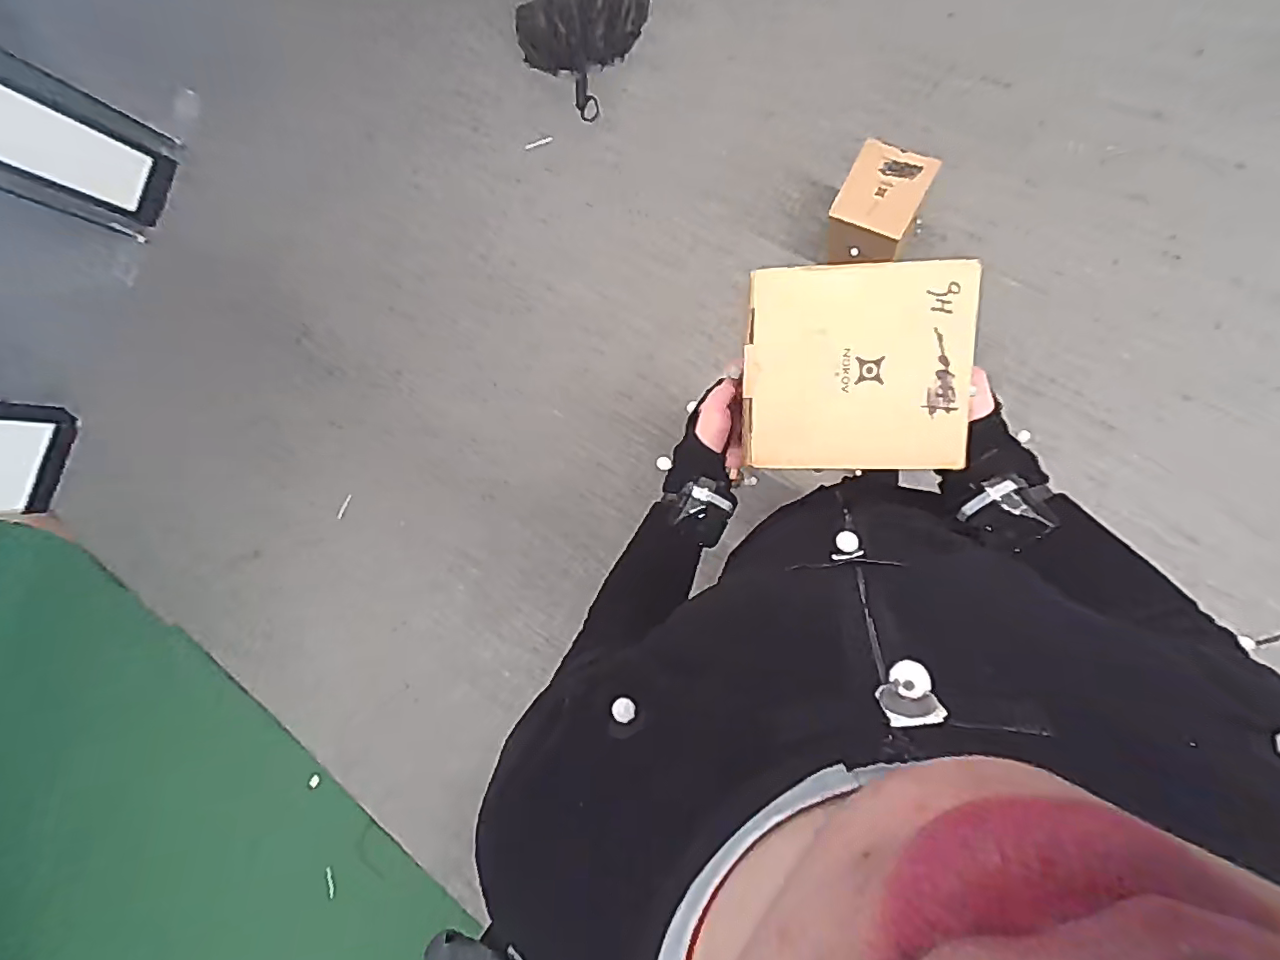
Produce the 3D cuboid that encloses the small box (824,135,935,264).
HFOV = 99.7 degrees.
[{"bbox_3d":[0.530,-0.627,1.227,0.168,0.176,0.179,30,99,16],"label":"small box"}]

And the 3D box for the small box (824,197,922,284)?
[{"bbox_3d":[0.584,-0.633,1.383,0.168,0.176,0.179,30,100,16],"label":"small box"}]
